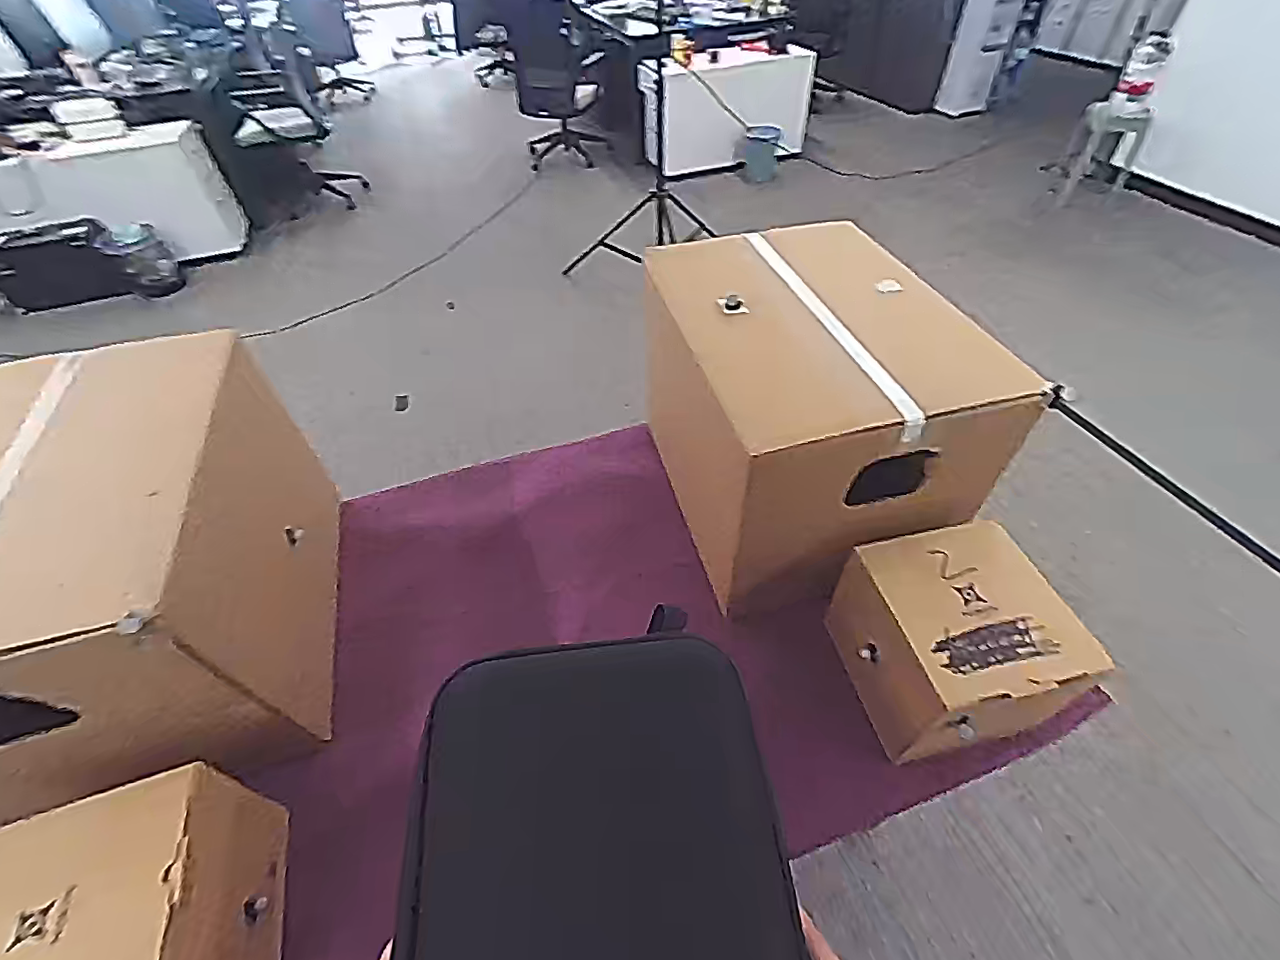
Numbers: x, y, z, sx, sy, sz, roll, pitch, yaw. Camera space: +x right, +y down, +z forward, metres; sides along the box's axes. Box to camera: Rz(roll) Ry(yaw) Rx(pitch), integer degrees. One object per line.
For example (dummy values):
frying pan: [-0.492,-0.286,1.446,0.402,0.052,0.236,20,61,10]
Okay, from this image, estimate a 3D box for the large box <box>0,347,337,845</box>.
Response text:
large box: [-0.567,0.113,0.612,0.320,0.320,0.408,-16,51,-12]
